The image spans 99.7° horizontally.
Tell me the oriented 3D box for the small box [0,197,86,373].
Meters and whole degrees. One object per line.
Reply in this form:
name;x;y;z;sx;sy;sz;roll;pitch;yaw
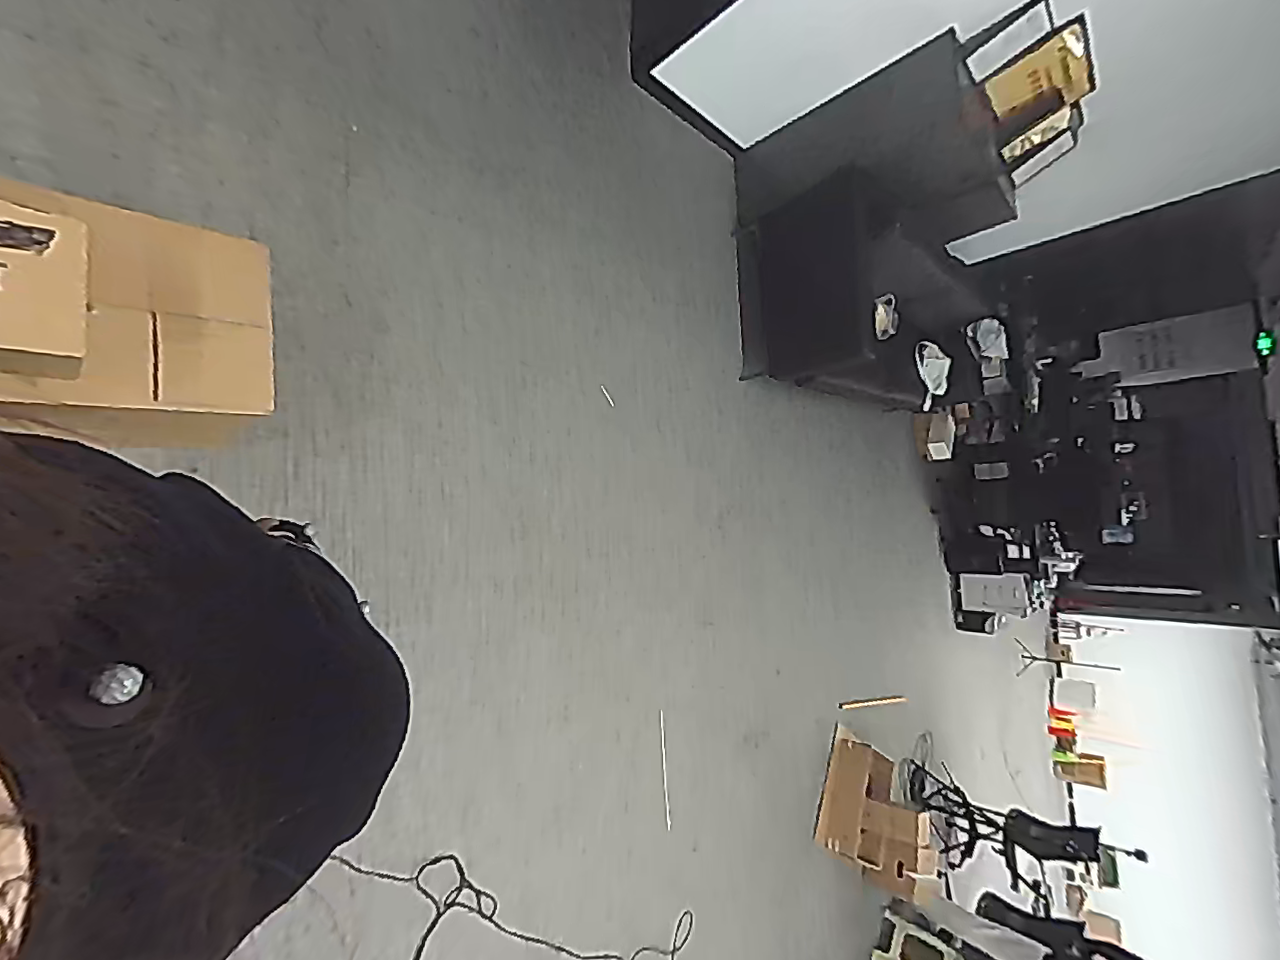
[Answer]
small box;-0.814;-0.242;0.671;0.168;0.176;0.179;1;88;-48
